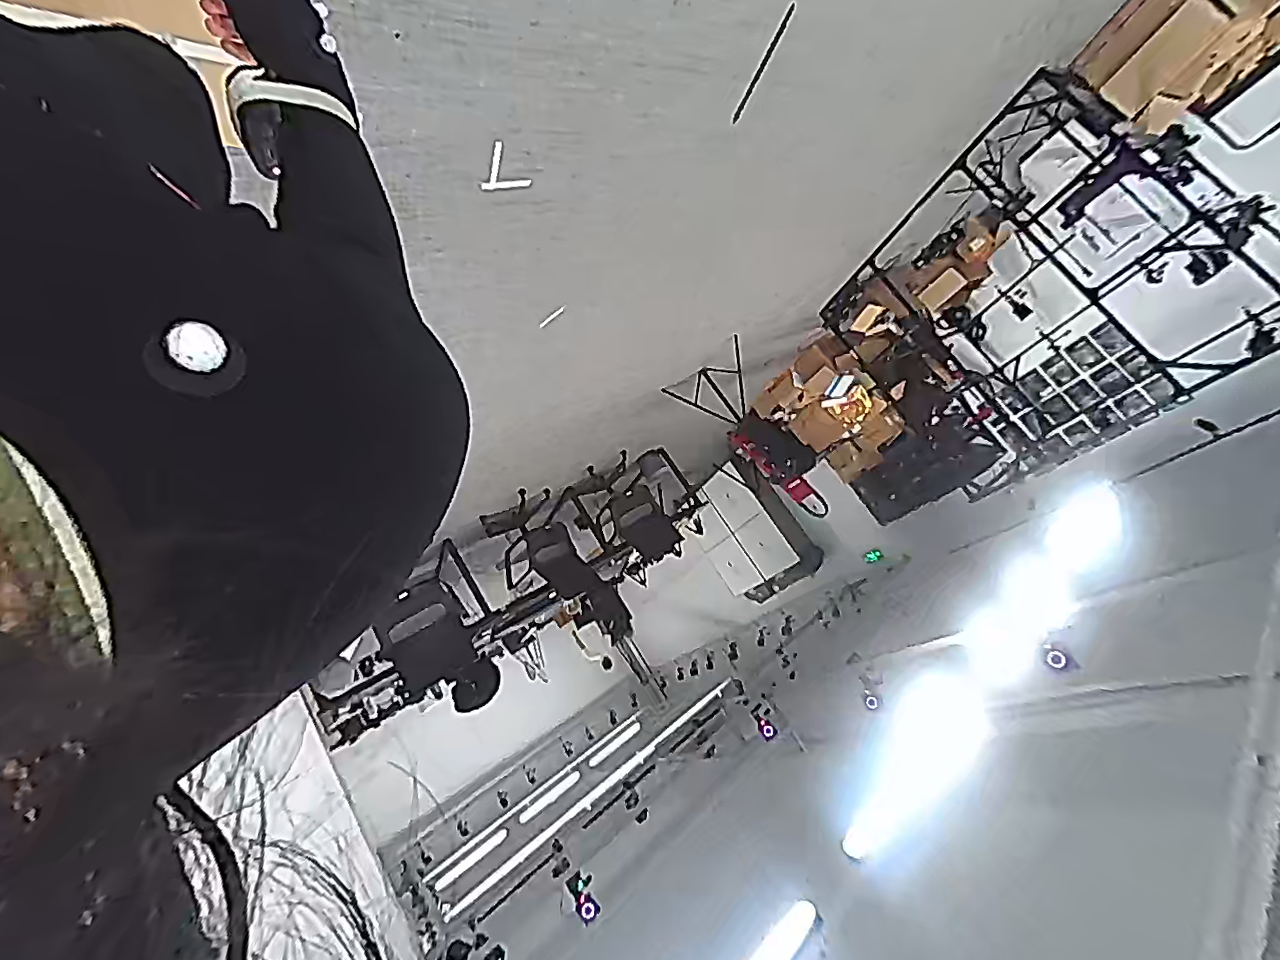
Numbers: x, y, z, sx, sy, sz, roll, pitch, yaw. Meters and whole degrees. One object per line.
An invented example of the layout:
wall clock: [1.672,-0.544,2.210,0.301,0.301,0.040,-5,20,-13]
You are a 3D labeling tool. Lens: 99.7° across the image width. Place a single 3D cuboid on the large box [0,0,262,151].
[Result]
large box: [-0.837,-0.739,0.781,0.408,0.320,0.320,-24,164,-43]
